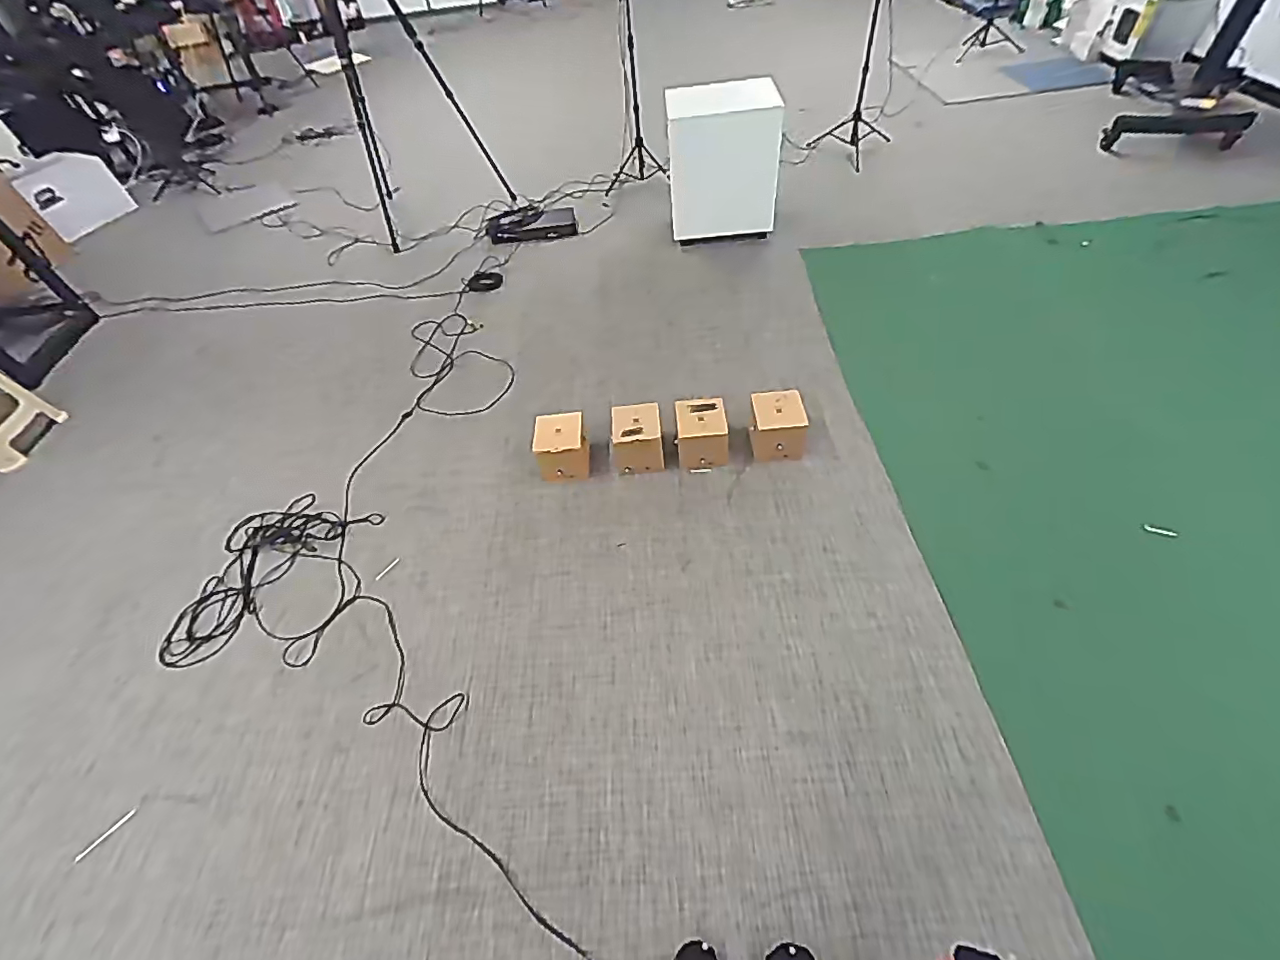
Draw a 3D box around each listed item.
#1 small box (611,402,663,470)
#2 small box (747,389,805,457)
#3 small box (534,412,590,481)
[{"bbox_3d":[-0.009,-0.149,1.914,0.168,0.176,0.179,-6,50,3],"label":"small box"},{"bbox_3d":[0.469,-0.192,1.889,0.168,0.176,0.179,-5,51,3],"label":"small box"},{"bbox_3d":[-0.273,-0.117,1.927,0.168,0.176,0.179,-6,51,3],"label":"small box"}]
